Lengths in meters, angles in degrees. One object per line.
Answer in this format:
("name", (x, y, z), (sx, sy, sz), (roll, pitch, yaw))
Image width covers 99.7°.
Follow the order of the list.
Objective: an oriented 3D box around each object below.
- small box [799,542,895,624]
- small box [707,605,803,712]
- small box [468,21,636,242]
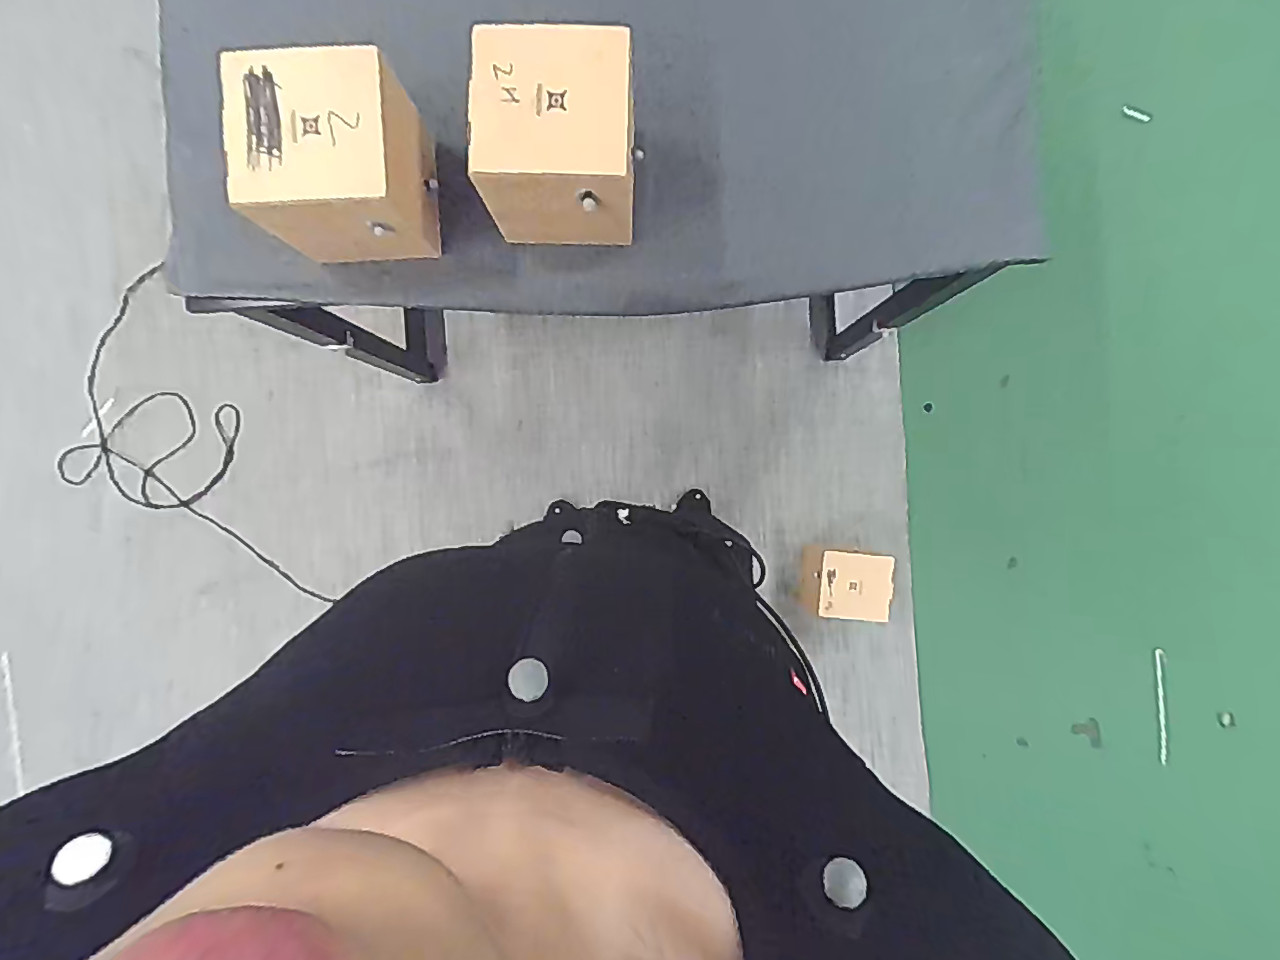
("small box", (0.528, 0.260, 1.397), (0.179, 0.176, 0.168), (6, 92, 1))
("small box", (0.289, 0.455, 1.405), (0.168, 0.176, 0.179), (35, 90, 0))
("small box", (-0.095, -0.409, 0.662), (0.179, 0.176, 0.168), (2, 89, 2))
